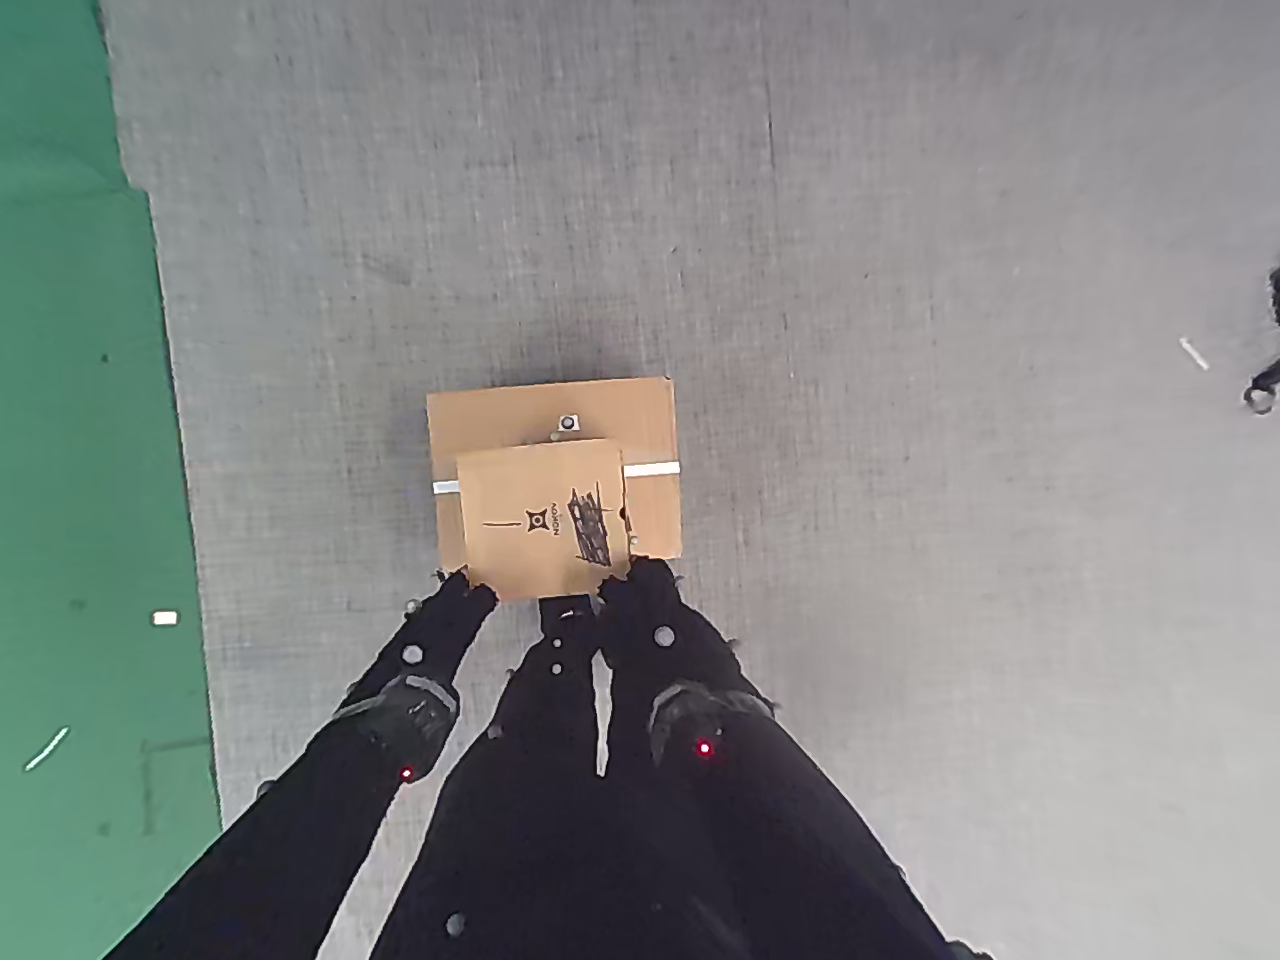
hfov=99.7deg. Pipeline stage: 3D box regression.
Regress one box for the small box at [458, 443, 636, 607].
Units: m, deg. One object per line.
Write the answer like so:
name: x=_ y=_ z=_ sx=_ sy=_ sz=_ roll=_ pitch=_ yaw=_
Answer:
small box: x=-0.101 y=0.044 z=0.653 sx=0.179 sy=0.176 sz=0.168 roll=-6 pitch=92 yaw=0
